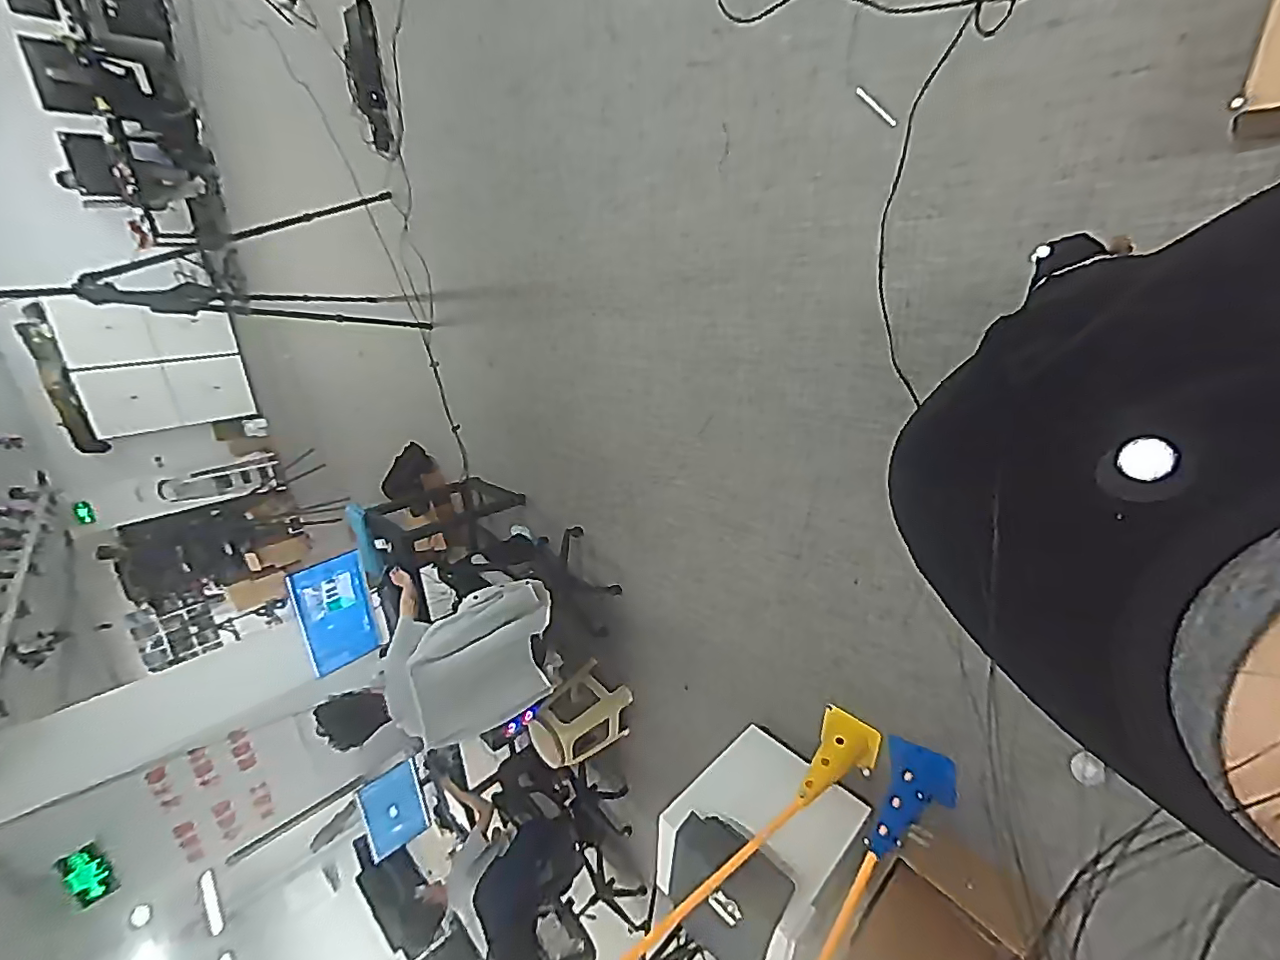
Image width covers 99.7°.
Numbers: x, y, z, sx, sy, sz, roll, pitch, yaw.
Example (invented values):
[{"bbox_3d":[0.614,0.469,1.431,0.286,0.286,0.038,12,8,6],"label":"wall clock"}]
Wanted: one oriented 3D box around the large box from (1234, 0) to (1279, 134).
[{"bbox_3d":[1.086,-0.665,0.677,0.408,0.320,0.320,18,119,42],"label":"large box"}]
